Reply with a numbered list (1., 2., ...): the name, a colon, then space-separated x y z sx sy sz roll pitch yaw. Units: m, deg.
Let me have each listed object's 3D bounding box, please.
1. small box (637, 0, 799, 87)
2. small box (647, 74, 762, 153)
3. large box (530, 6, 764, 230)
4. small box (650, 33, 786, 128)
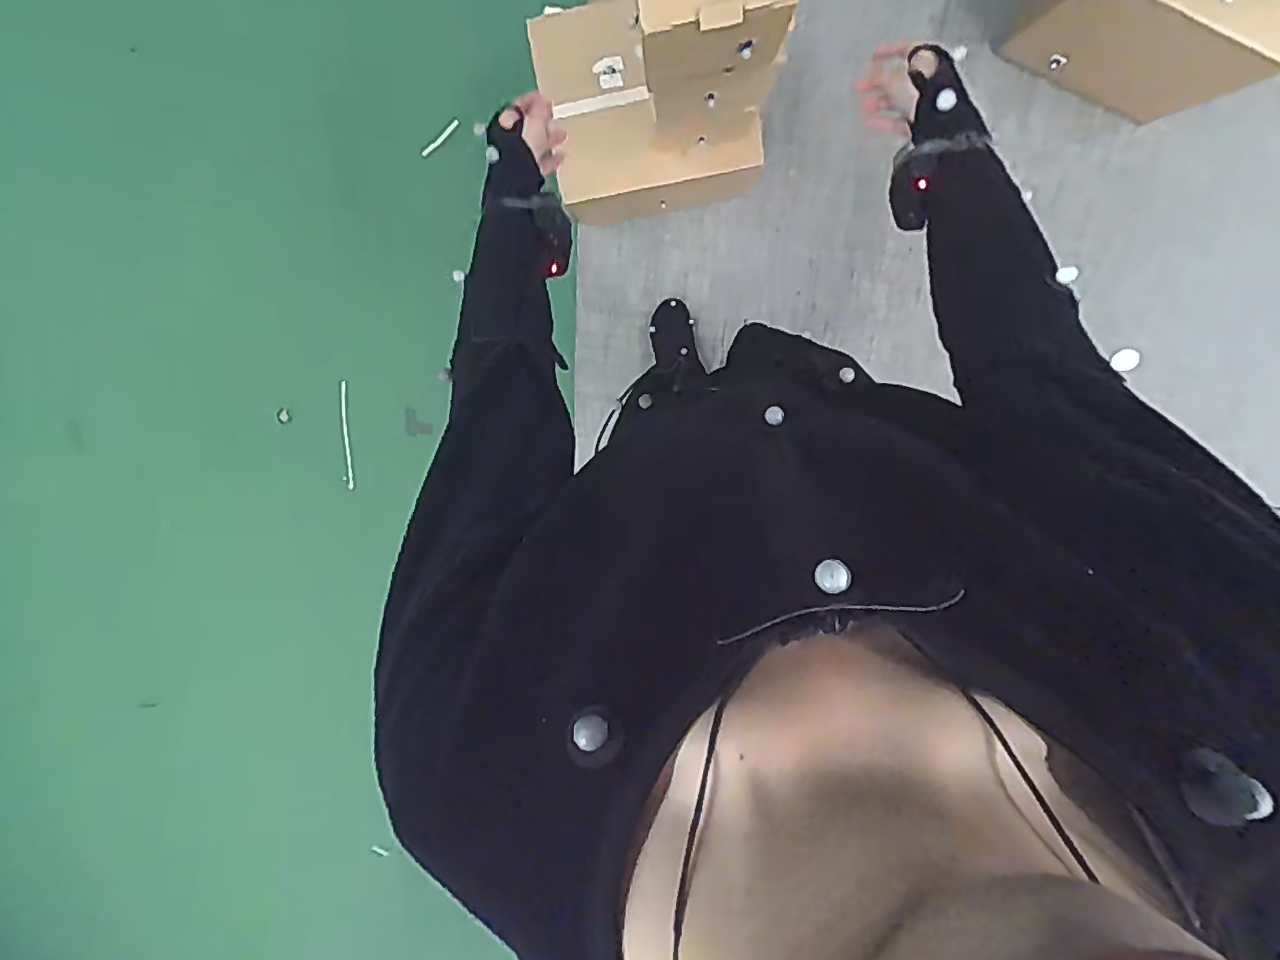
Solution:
1. small box: 0.076 -0.576 0.608 0.168 0.176 0.179 -7 107 5
2. small box: 0.103 -0.677 0.918 0.179 0.176 0.168 -4 107 4
3. large box: 0.027 -0.753 1.155 0.408 0.320 0.320 -9 106 6
4. small box: 0.097 -0.626 0.762 0.179 0.176 0.168 -8 107 7
